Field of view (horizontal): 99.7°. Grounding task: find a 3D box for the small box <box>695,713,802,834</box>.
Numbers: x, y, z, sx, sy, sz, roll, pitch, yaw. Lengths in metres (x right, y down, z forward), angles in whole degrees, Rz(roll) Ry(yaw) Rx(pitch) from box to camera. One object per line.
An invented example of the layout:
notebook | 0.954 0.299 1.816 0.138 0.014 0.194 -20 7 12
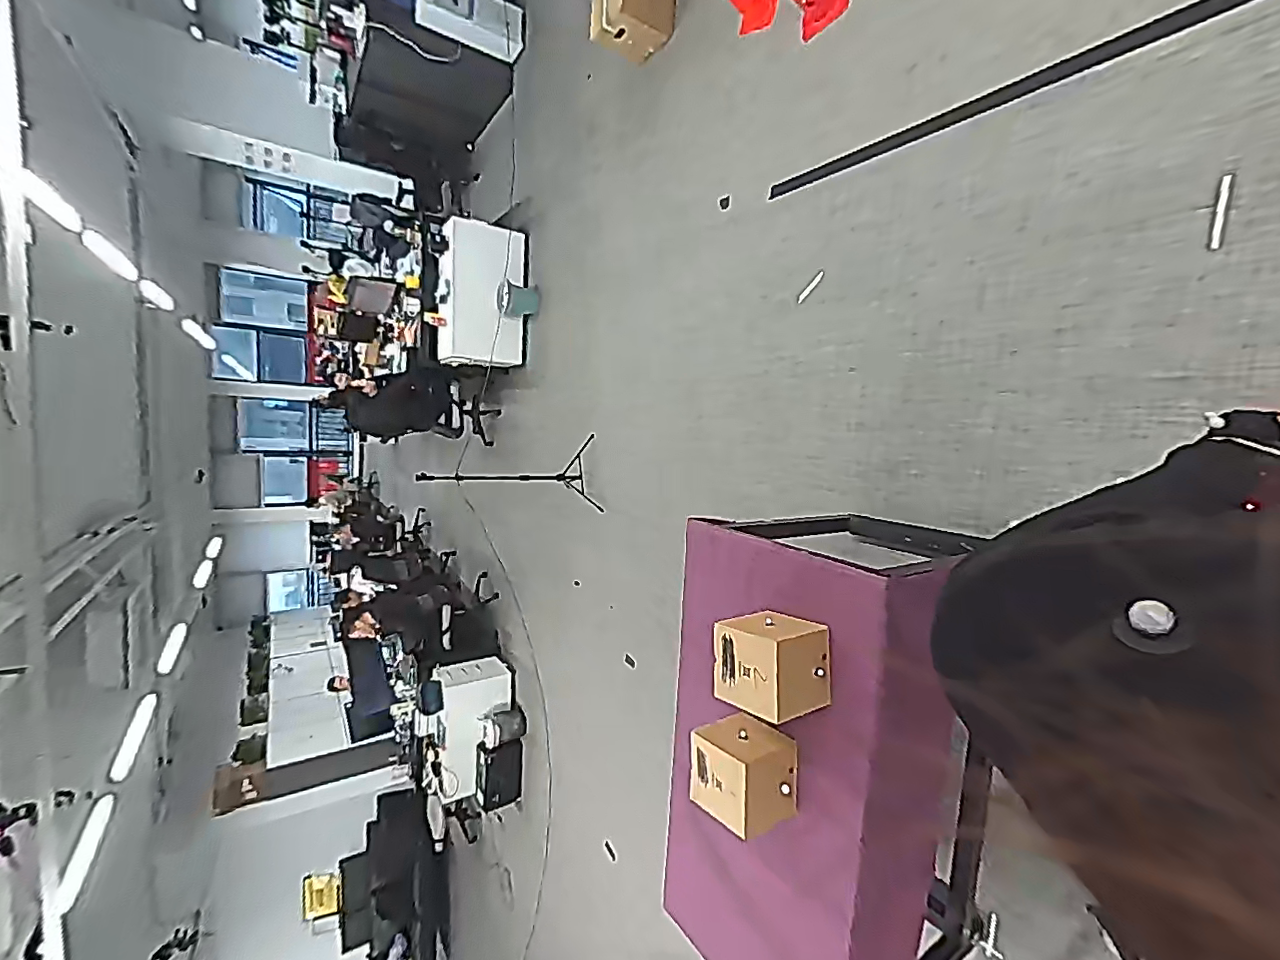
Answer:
small box | 0.245 0.657 1.240 0.179 0.176 0.168 3 94 55
